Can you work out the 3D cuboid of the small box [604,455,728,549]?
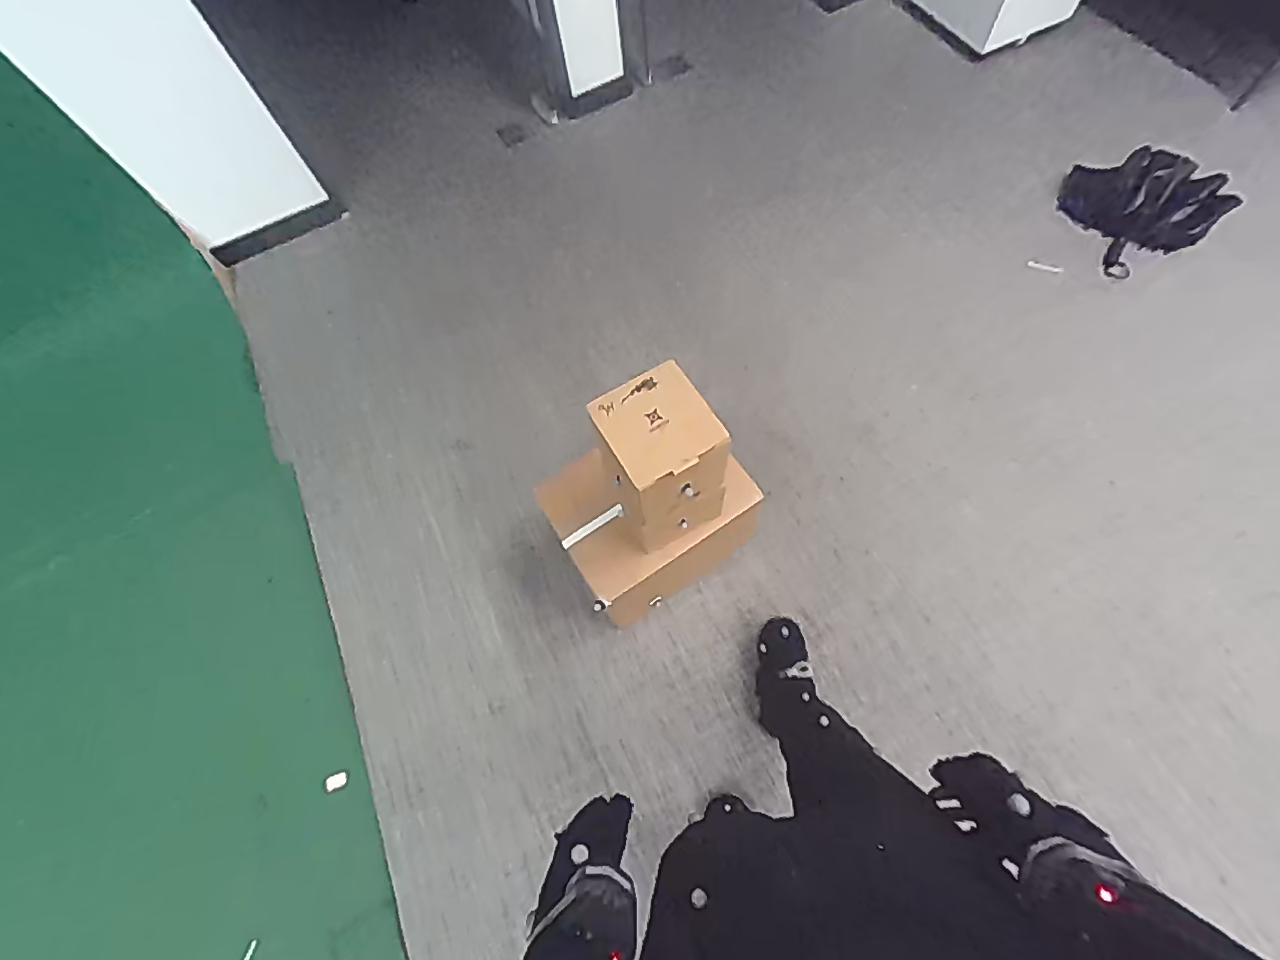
[{"bbox_3d":[0.051,0.010,1.054,0.179,0.176,0.168,-28,68,-5],"label":"small box"}]

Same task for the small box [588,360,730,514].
[{"bbox_3d":[0.035,-0.060,0.907,0.168,0.176,0.179,-29,68,-7],"label":"small box"}]
